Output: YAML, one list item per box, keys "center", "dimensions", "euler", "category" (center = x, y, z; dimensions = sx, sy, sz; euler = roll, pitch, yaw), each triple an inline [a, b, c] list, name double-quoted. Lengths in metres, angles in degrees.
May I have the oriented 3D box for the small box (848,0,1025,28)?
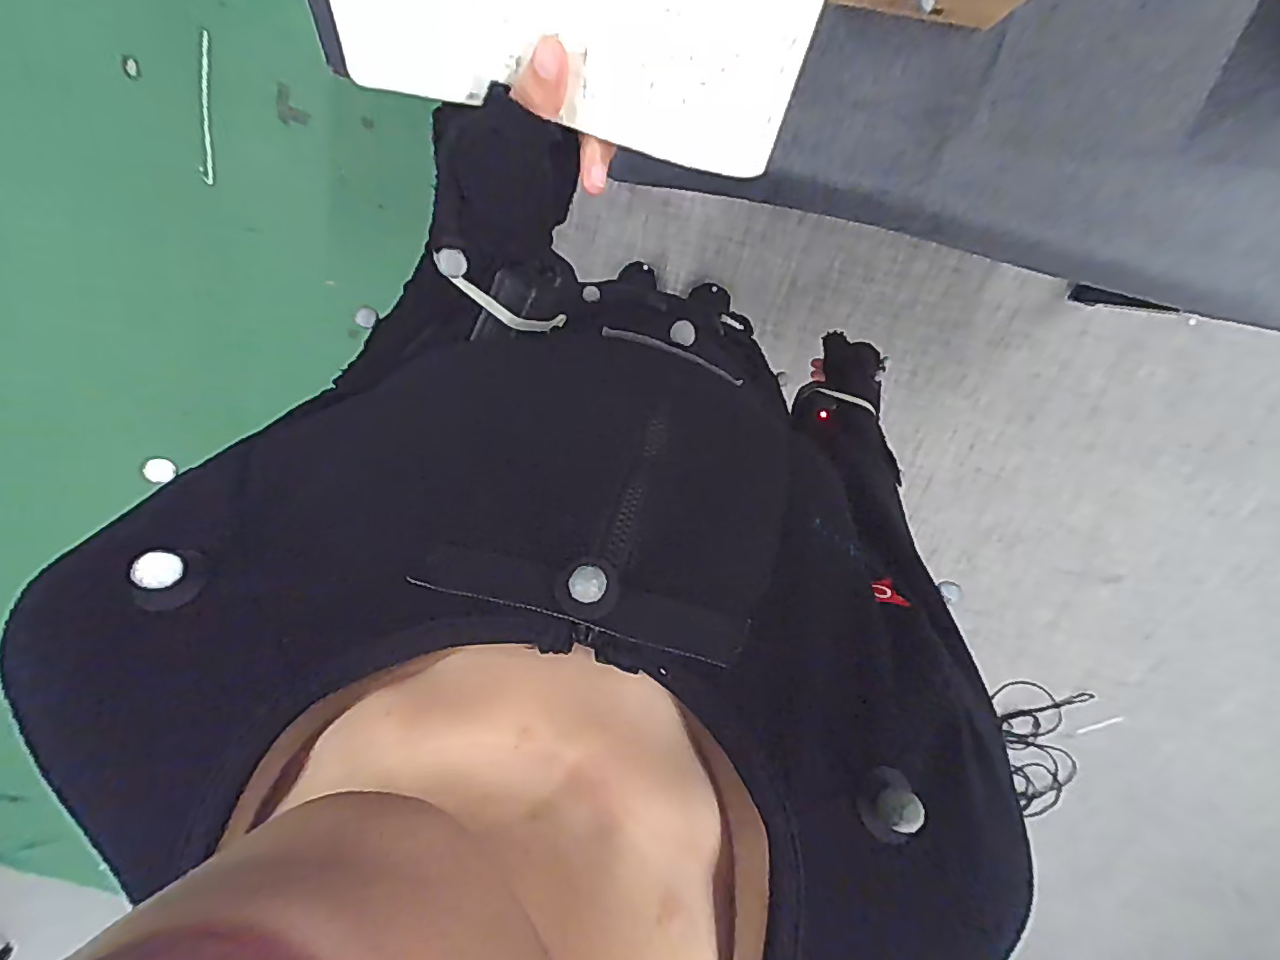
- center: [0.281, -0.515, 0.434]
  dimensions: [0.168, 0.176, 0.179]
  euler: [10, 112, 1]
  category: "small box"
